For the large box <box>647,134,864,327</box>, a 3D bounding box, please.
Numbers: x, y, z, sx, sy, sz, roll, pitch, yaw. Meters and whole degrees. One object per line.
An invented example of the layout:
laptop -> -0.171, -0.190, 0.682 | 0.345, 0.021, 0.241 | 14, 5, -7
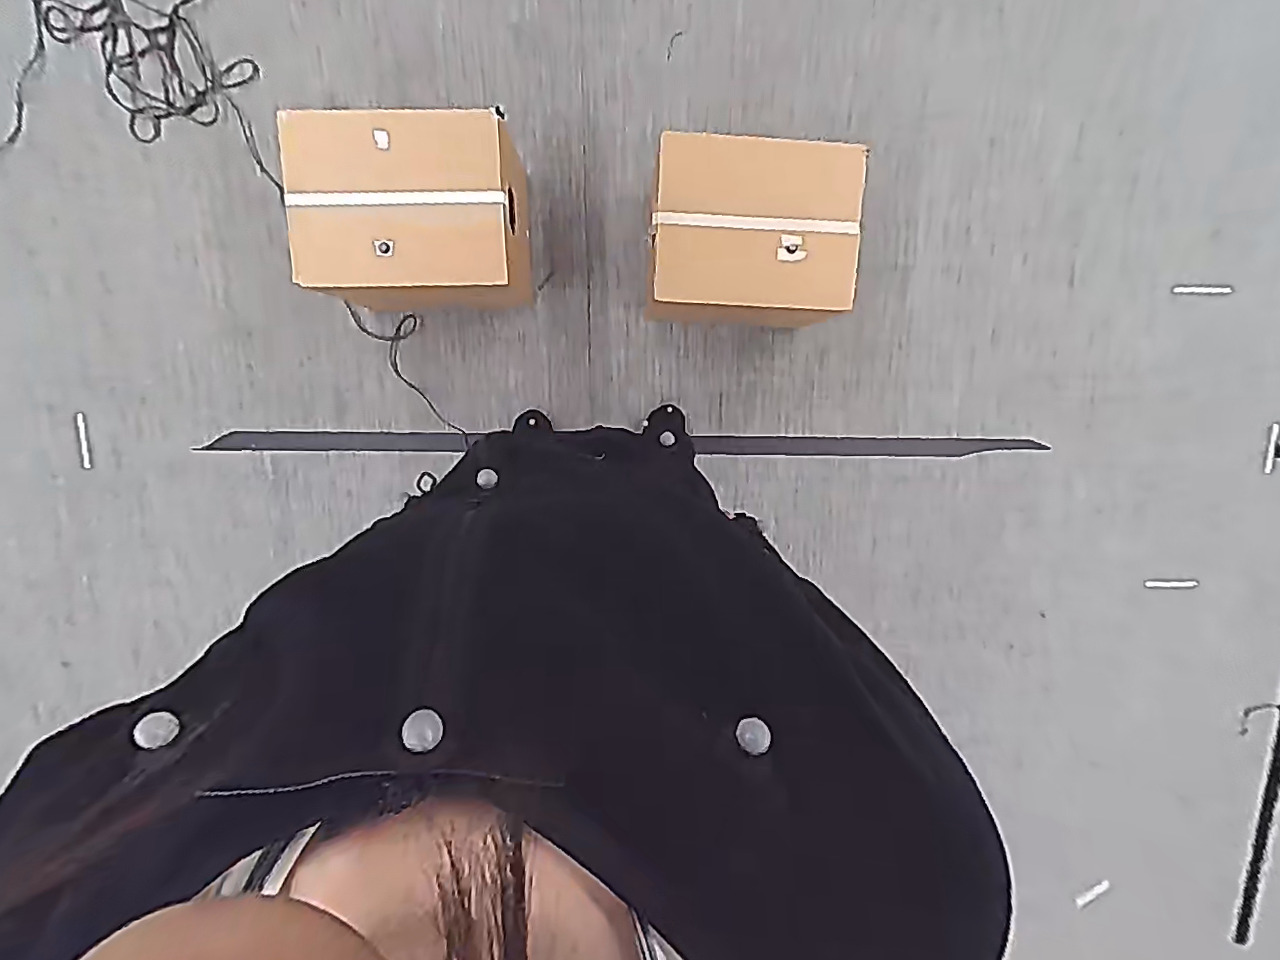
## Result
large box -> 0.226, -0.528, 1.213 | 0.408, 0.320, 0.320 | 2, 99, -4
